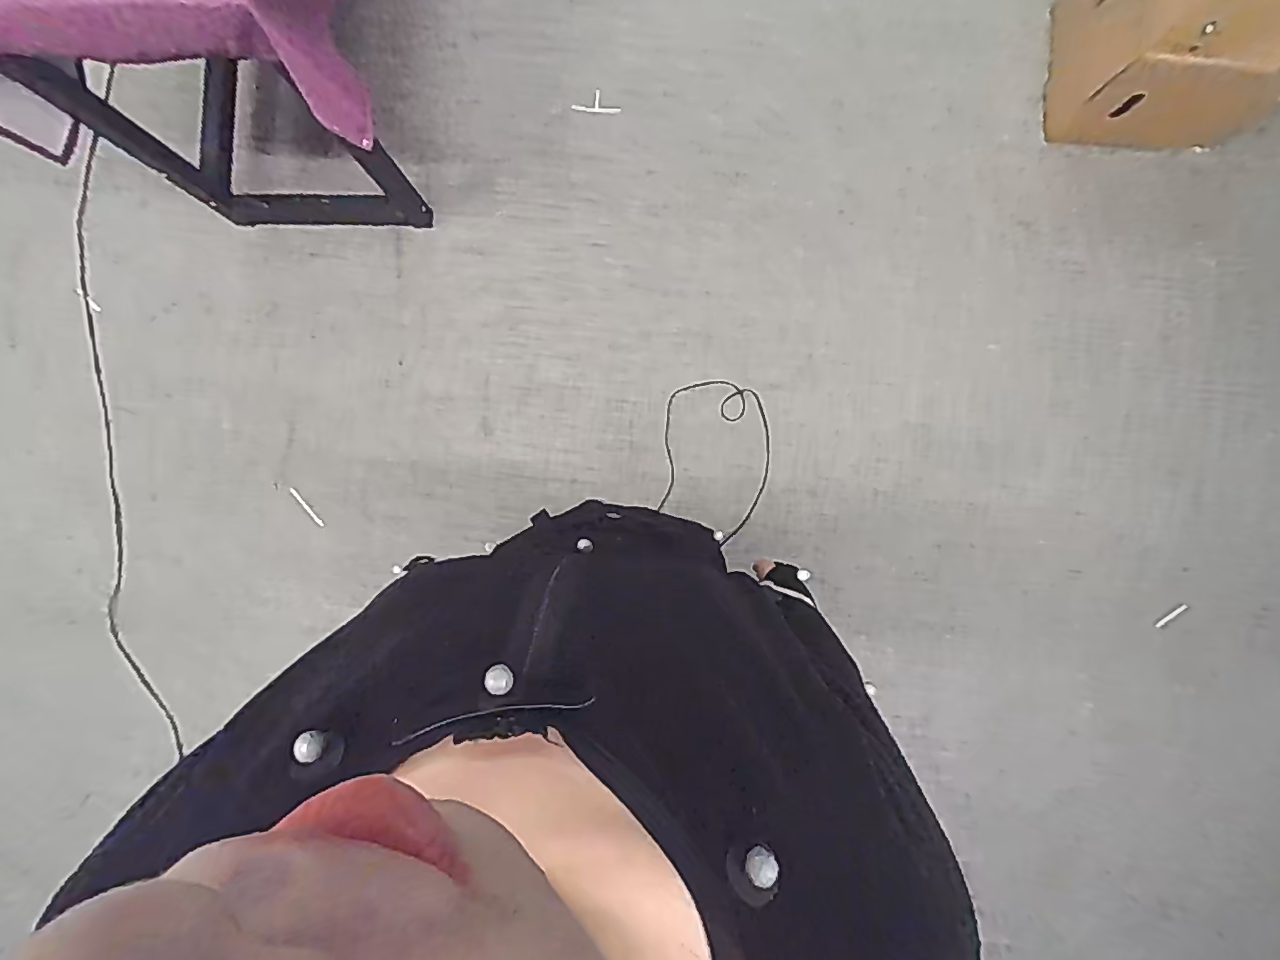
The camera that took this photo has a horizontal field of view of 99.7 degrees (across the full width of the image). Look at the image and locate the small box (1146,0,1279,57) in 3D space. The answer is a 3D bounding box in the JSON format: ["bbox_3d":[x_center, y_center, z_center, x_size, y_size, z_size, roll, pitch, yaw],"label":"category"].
[{"bbox_3d":[1.219,-1.038,1.133,0.168,0.176,0.179,6,89,0],"label":"small box"}]
